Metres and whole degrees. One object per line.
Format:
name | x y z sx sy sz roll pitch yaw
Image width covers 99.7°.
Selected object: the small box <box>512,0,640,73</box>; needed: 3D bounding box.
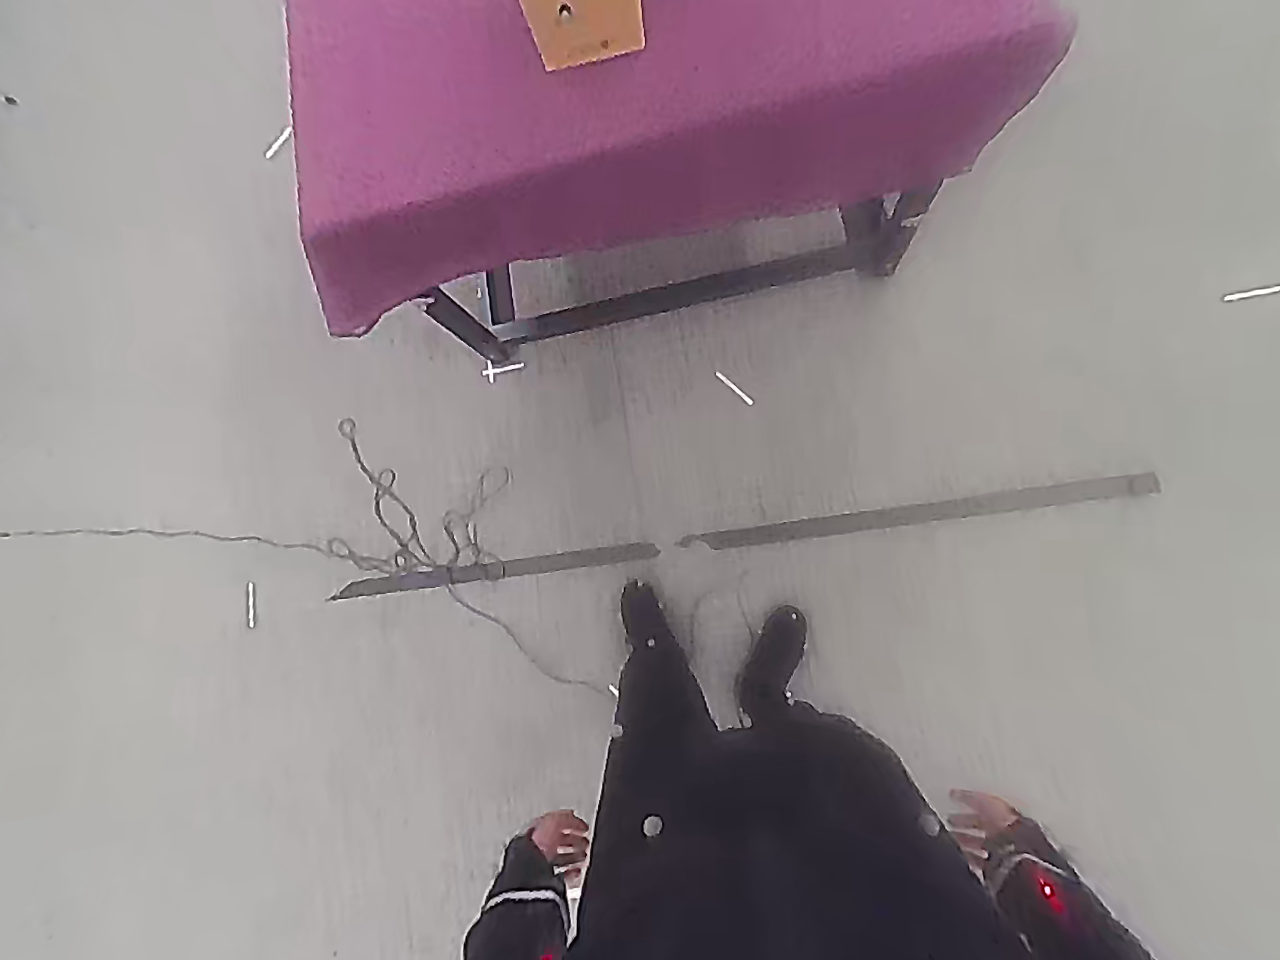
small box | -0.099 -0.768 0.826 0.168 0.176 0.179 -7 80 10
